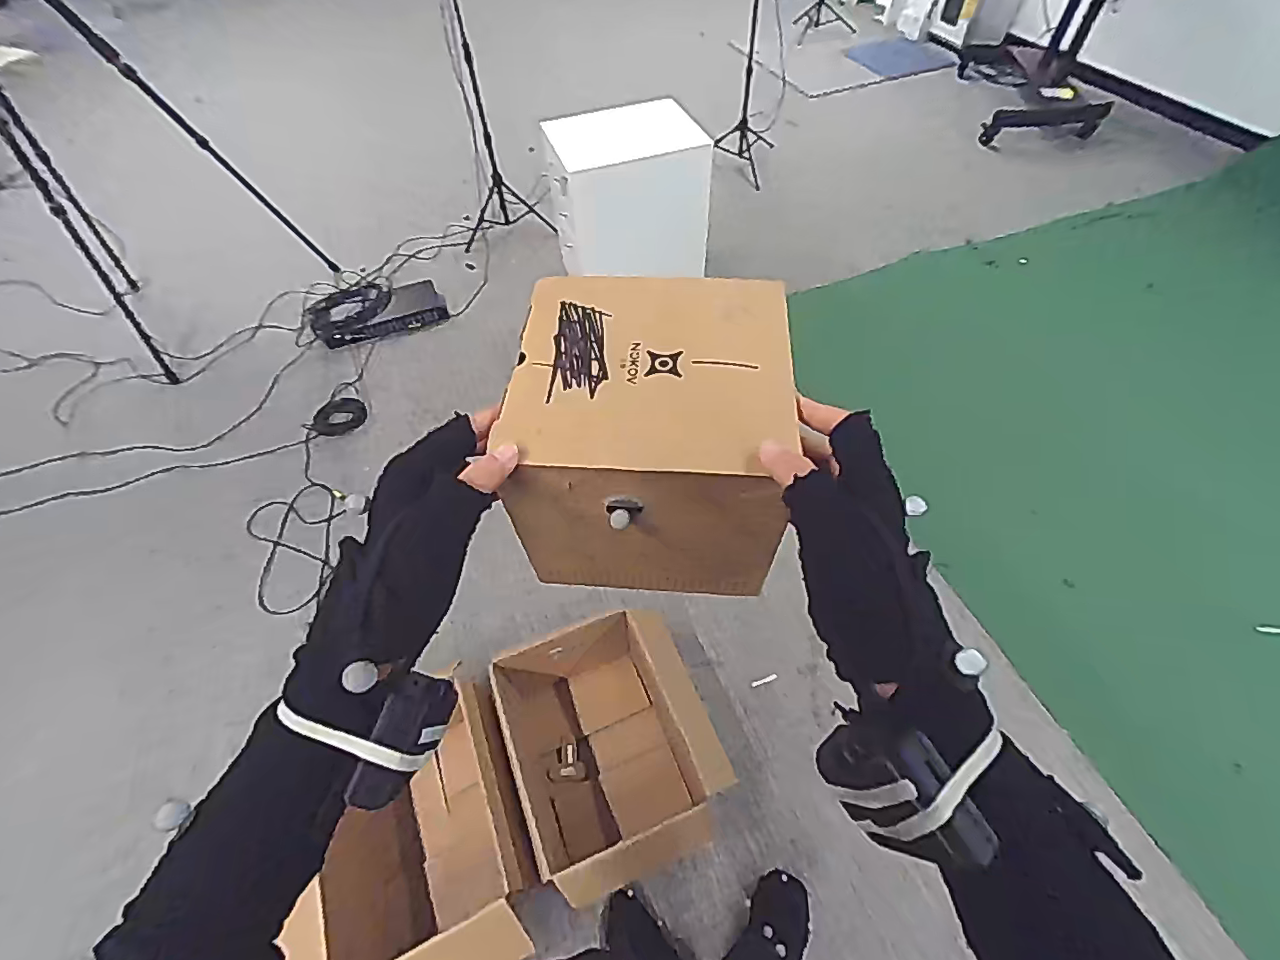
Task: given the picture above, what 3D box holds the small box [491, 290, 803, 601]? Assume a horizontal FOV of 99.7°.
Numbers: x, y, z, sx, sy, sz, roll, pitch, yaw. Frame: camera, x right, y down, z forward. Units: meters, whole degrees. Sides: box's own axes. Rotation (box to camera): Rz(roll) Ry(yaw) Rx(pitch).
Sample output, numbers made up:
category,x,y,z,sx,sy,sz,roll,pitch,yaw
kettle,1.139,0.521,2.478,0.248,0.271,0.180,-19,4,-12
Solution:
category,x,y,z,sx,sy,sz,roll,pitch,yaw
small box,0.012,-0.020,0.405,0.179,0.176,0.168,3,56,4
